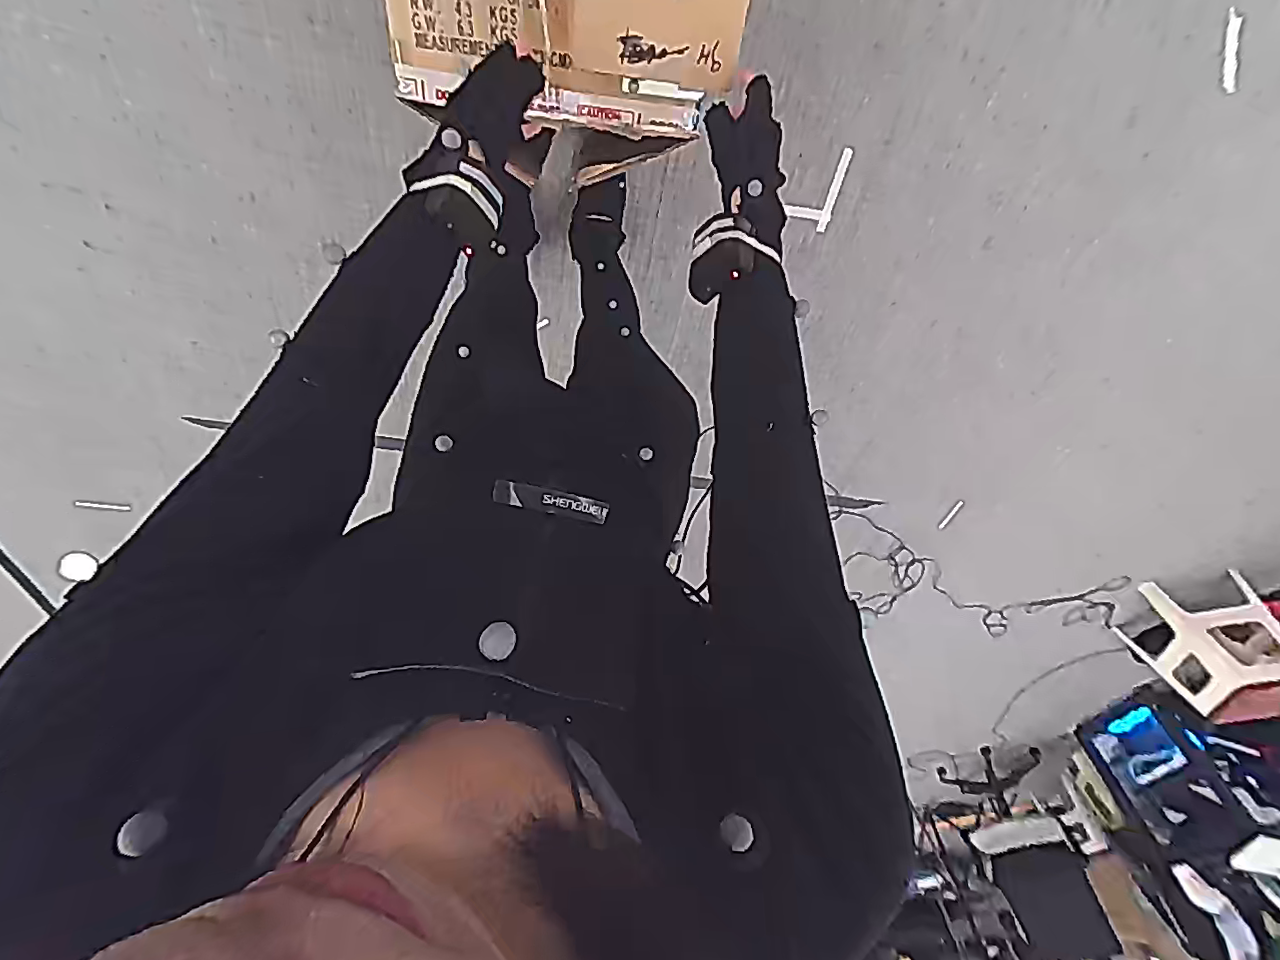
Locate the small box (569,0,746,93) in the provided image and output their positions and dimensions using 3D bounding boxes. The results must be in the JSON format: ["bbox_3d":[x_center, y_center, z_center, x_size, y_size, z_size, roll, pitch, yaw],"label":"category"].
[{"bbox_3d":[0.014,-0.519,0.551,0.168,0.176,0.179,3,129,-8],"label":"small box"}]
